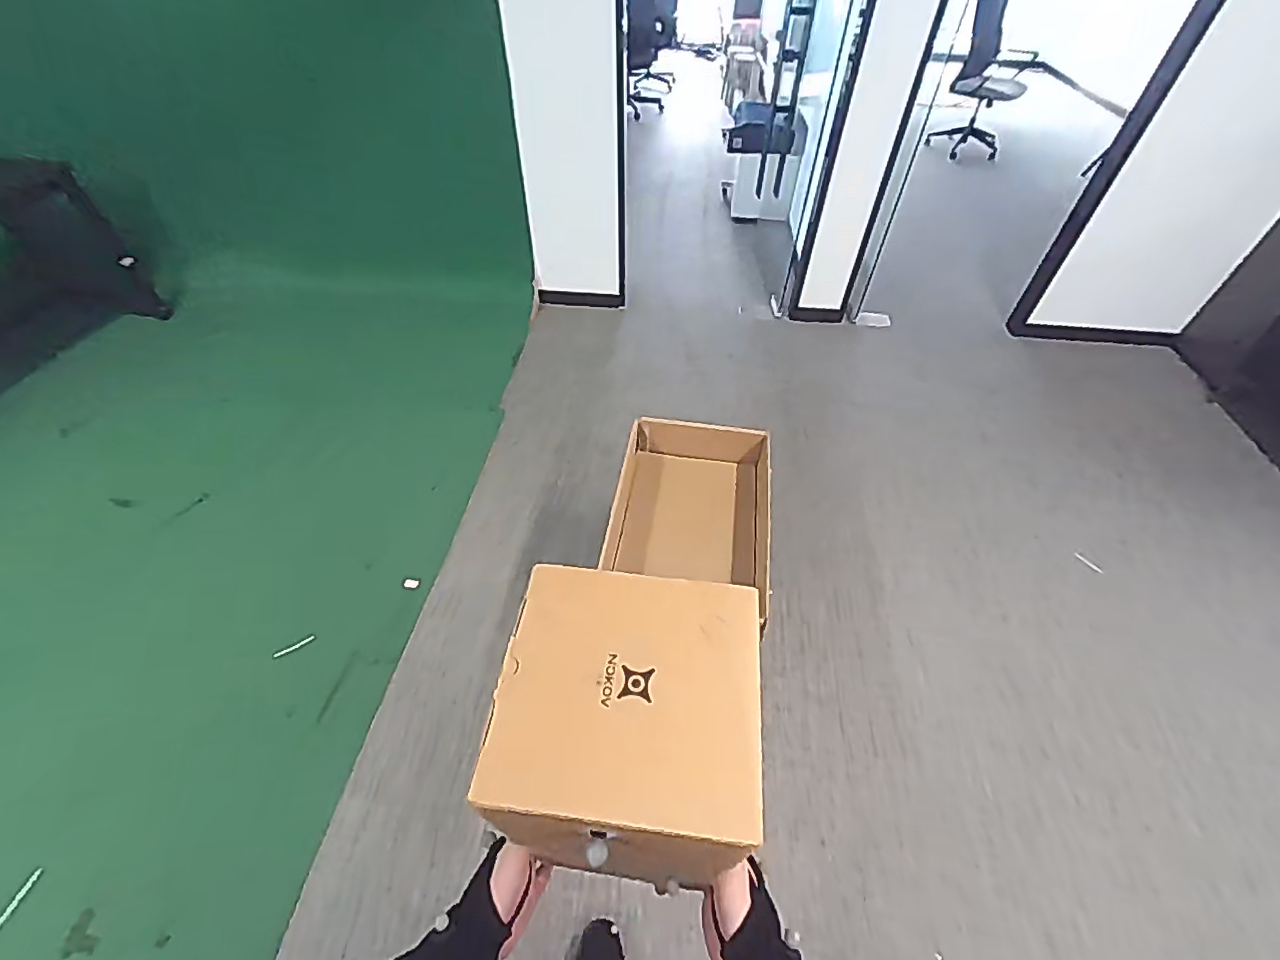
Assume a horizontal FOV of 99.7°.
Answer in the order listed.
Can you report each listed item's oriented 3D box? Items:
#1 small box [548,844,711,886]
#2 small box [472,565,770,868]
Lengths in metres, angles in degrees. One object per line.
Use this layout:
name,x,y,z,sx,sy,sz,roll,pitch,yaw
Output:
small box,0.000,0.391,0.676,0.179,0.176,0.168,6,49,6
small box,-0.003,0.187,0.420,0.179,0.176,0.168,5,50,5
